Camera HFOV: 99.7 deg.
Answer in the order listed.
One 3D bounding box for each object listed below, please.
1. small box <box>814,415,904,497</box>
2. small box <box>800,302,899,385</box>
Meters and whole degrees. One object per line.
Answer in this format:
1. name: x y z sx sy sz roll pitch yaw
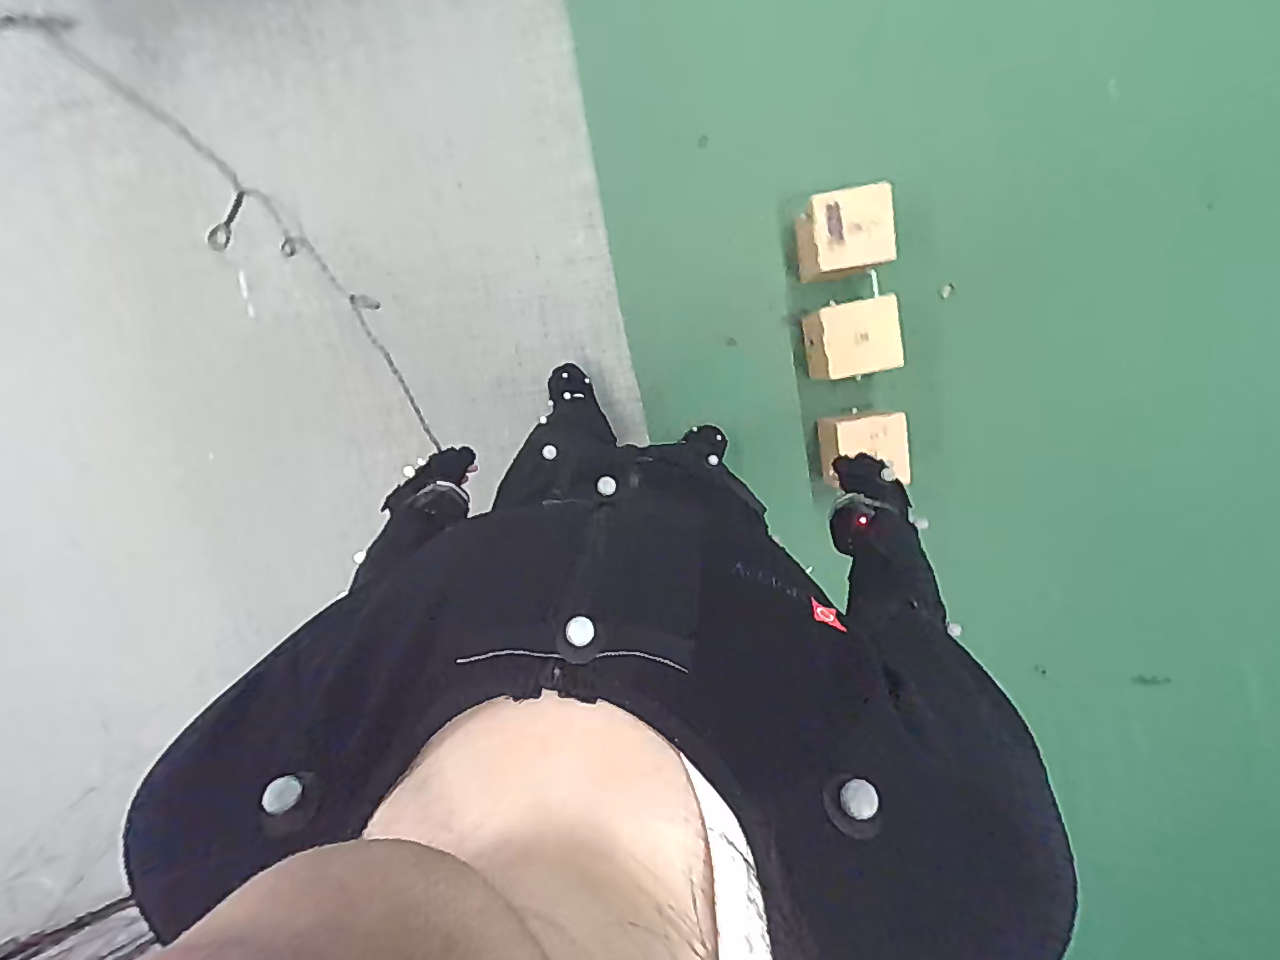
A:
1. small box: 0.558 -0.067 1.392 0.168 0.176 0.179 -8 100 3
2. small box: 0.516 -0.335 1.348 0.179 0.176 0.168 -10 100 5
